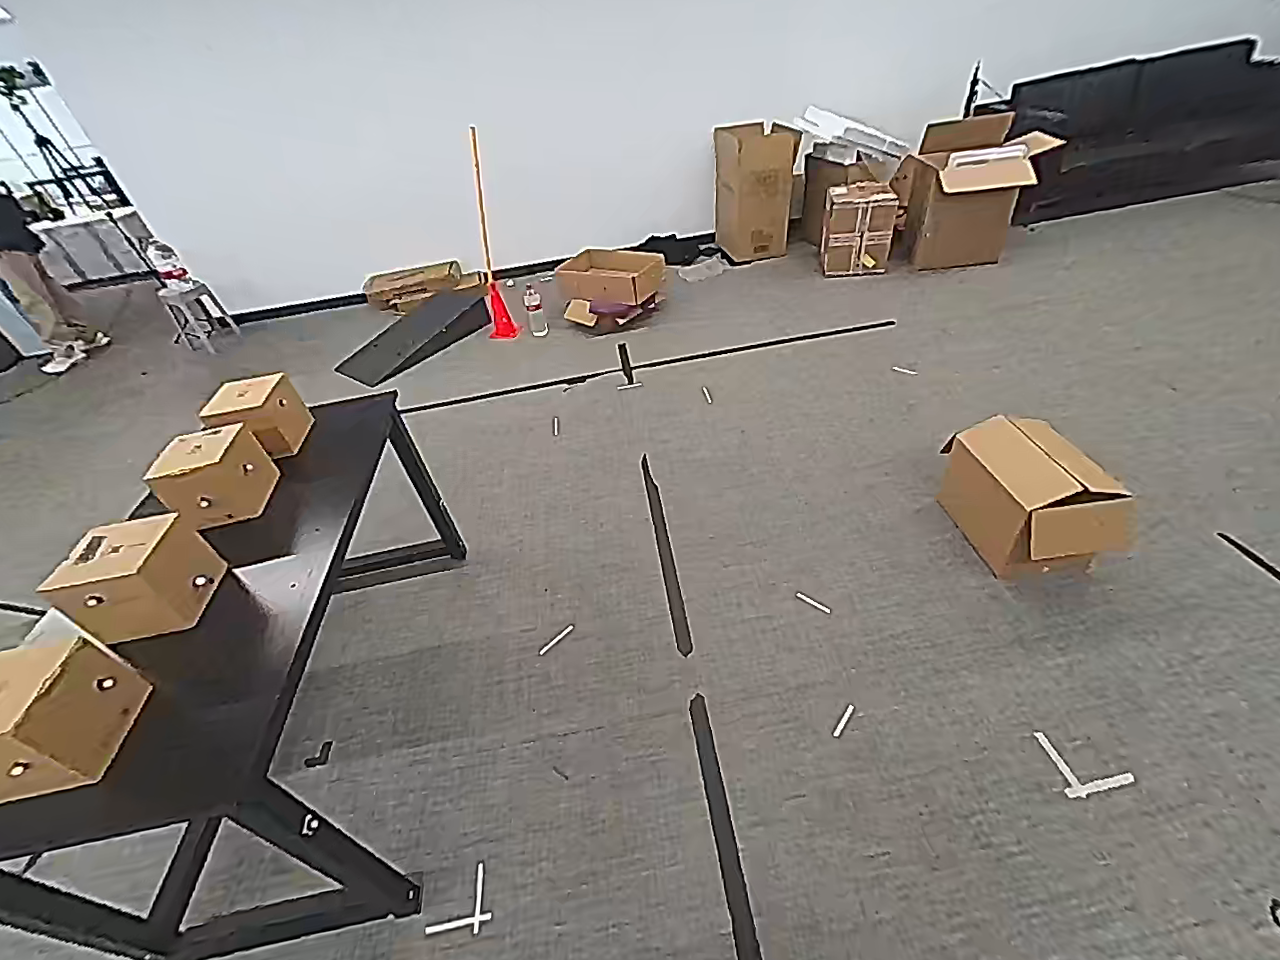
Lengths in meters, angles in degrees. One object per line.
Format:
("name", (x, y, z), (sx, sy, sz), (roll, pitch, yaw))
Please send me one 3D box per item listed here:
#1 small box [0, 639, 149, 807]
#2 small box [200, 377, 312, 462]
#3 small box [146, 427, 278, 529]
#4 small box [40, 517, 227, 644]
("small box", (-0.950, 0.384, 0.853), (0.179, 0.176, 0.168), (-13, 39, -3))
("small box", (-1.056, -0.159, 1.508), (0.168, 0.176, 0.179), (-11, 40, -2))
("small box", (-1.025, 0.002, 1.317), (0.168, 0.176, 0.179), (-14, 41, -5))
("small box", (-0.984, 0.202, 1.072), (0.179, 0.176, 0.168), (-11, 40, -3))
